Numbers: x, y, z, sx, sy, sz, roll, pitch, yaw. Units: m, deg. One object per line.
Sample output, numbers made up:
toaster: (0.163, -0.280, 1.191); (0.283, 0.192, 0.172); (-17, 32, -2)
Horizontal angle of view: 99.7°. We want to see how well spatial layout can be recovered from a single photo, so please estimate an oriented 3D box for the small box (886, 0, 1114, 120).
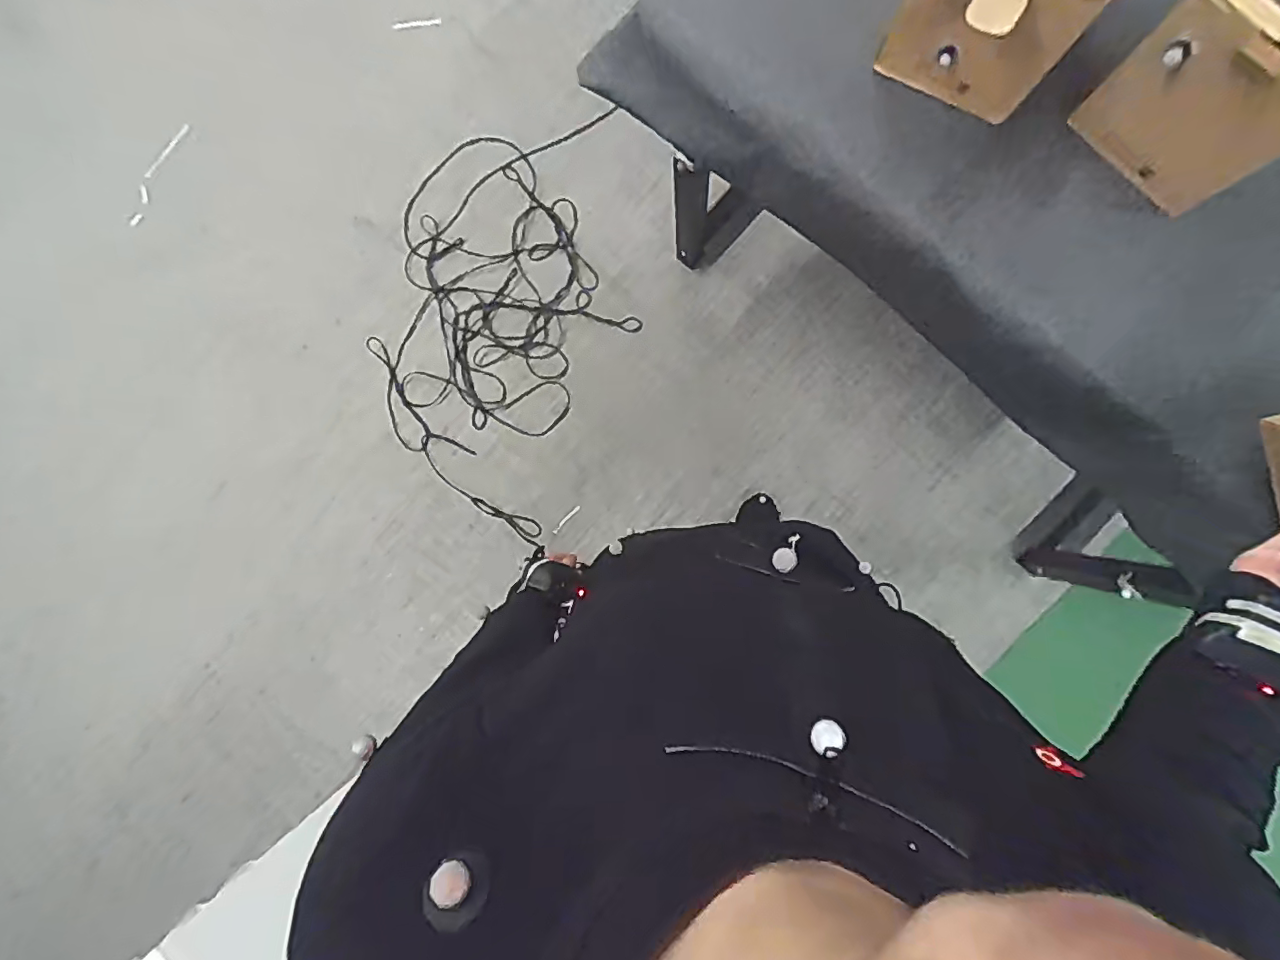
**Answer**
small box: (0.384, -0.525, 0.549); (0.168, 0.176, 0.179); (27, 91, 4)
